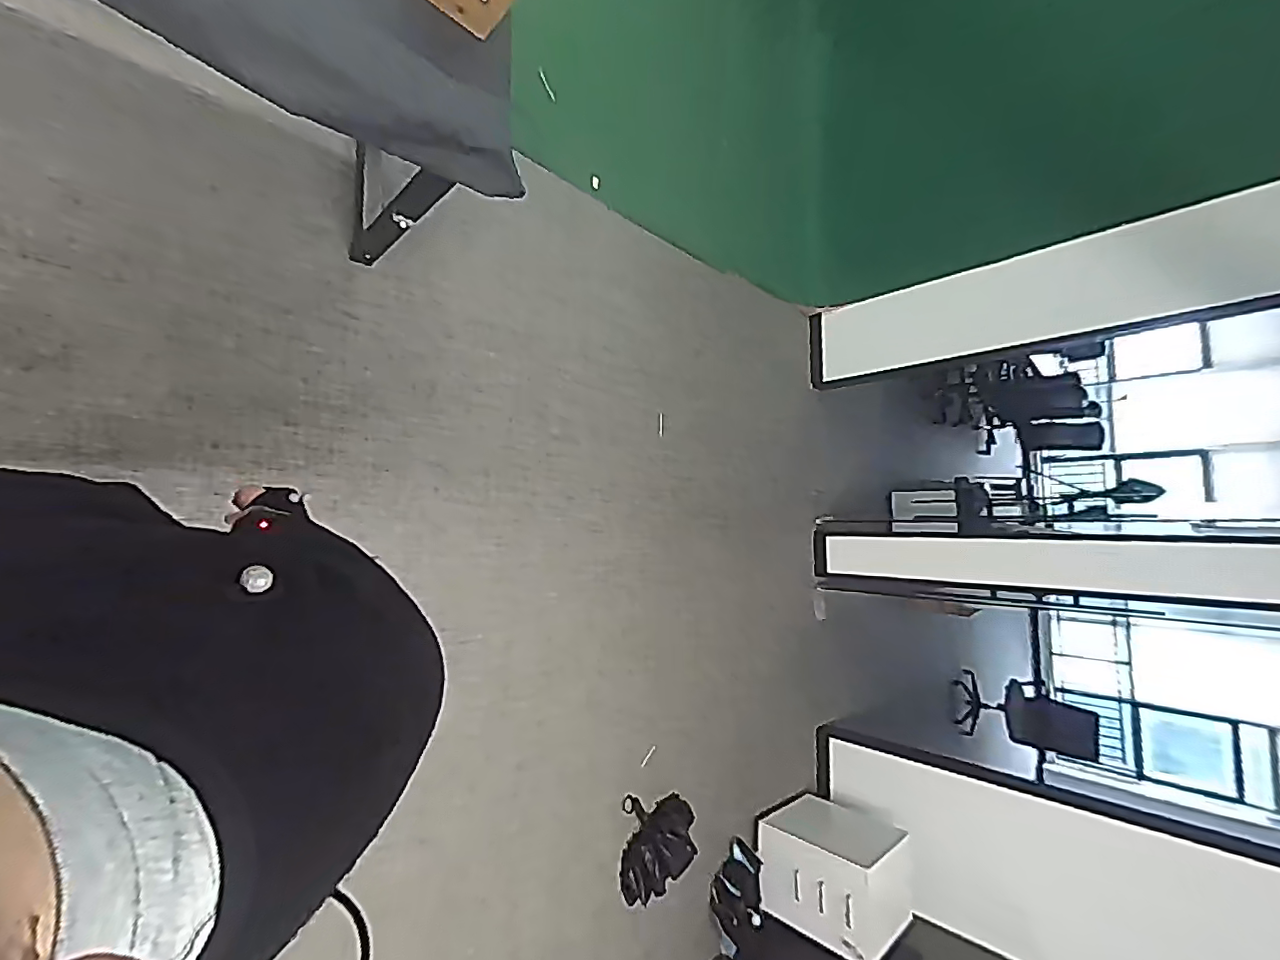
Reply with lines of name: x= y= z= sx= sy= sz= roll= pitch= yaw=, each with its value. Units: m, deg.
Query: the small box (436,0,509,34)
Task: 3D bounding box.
small box: x=-0.297 y=-0.933 z=0.925 sx=0.168 sy=0.176 sz=0.179 roll=8 pitch=79 yaw=-45
